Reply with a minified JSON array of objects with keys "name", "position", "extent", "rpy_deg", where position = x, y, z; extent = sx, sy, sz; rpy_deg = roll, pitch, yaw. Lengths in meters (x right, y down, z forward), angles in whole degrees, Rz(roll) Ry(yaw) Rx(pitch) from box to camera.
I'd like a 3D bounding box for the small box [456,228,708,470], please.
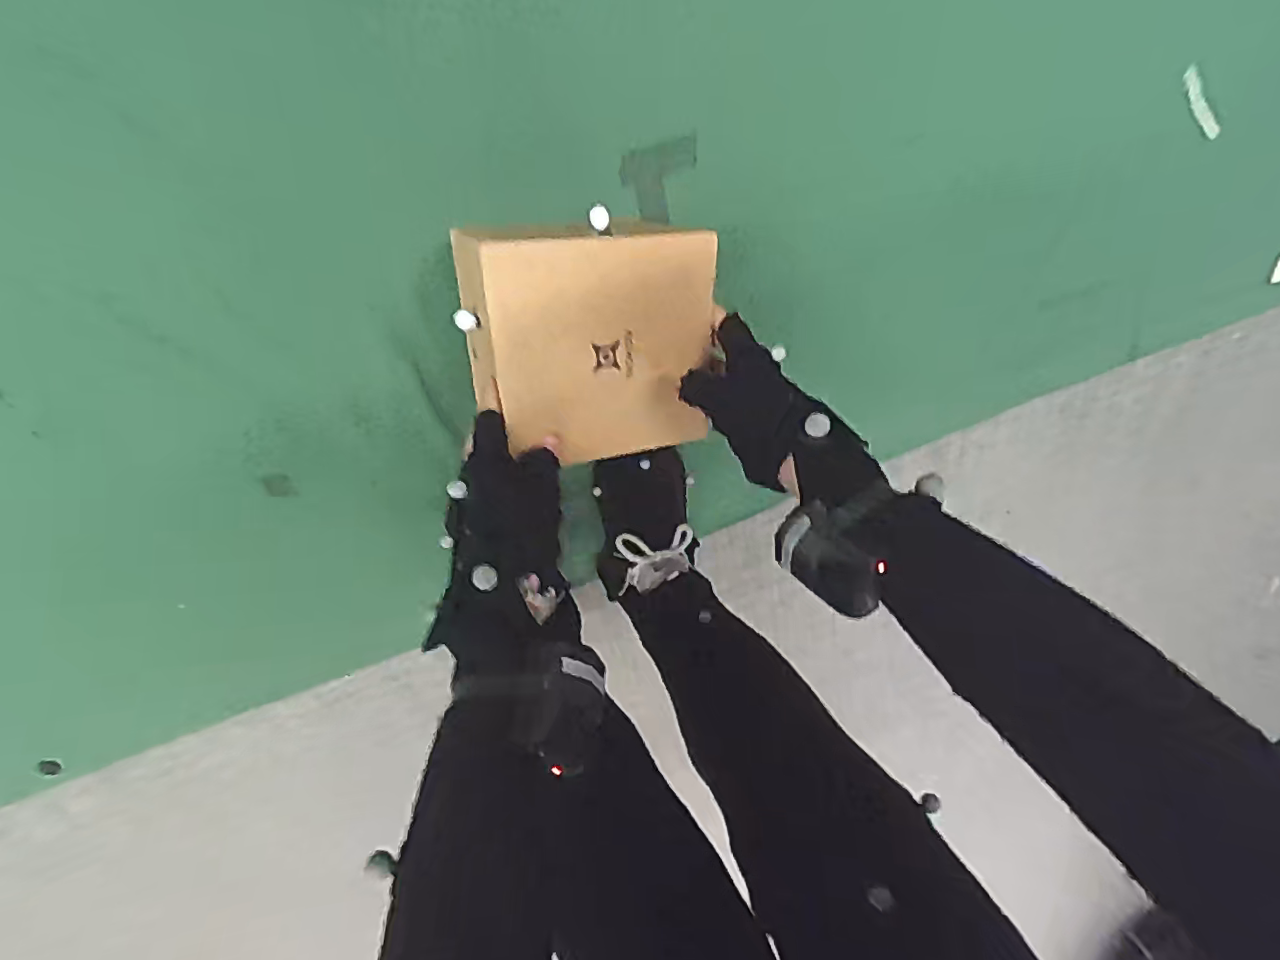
[{"name":"small box","position":[-0.059,-0.128,0.478],"extent":[0.179,0.176,0.168],"rpy_deg":[-12,120,-21]}]
